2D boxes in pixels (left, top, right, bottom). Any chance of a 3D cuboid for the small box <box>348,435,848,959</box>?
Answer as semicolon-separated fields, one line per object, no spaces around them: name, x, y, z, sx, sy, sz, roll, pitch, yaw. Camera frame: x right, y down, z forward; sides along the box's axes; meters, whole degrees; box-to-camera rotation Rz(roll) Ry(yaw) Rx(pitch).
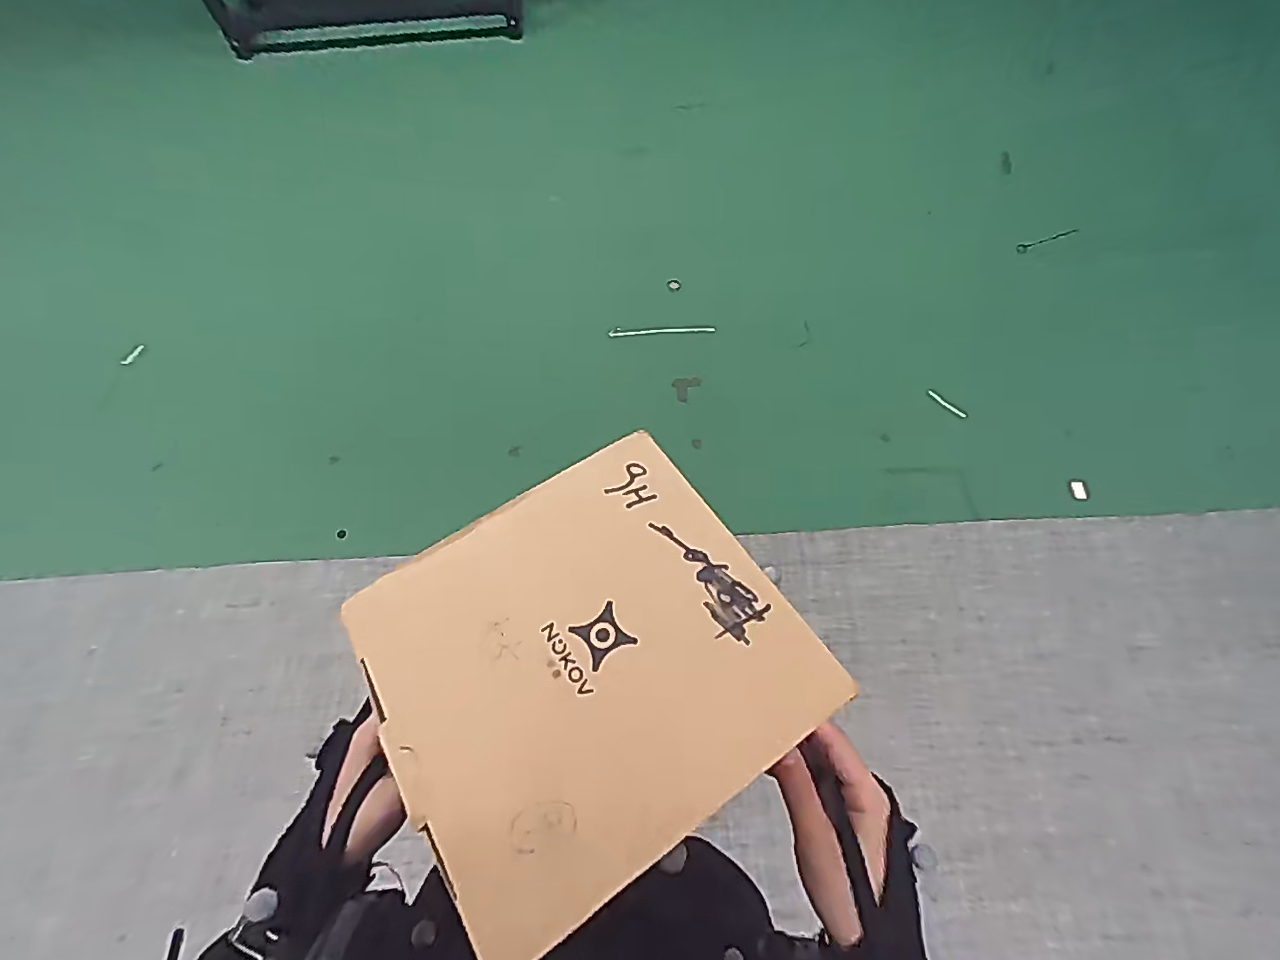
small box;-0.020;0.114;0.310;0.179;0.176;0.168;-31;63;-14
